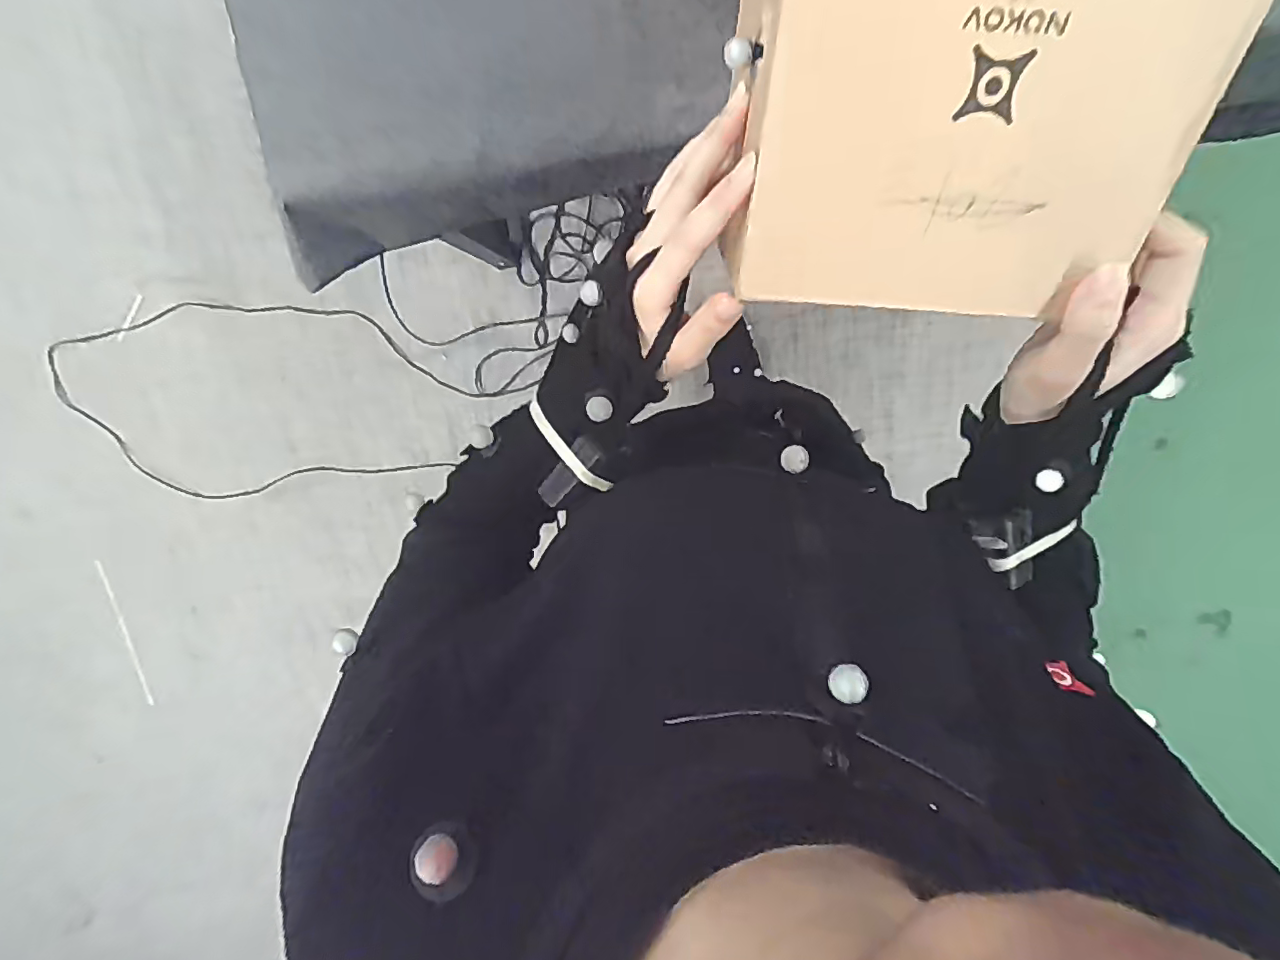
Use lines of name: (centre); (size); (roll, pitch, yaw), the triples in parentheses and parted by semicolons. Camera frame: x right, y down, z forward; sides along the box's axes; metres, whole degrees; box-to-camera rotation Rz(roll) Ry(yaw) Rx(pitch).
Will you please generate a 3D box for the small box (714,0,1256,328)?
small box: (0.133, -0.193, 0.272); (0.168, 0.176, 0.179); (5, 123, 0)
